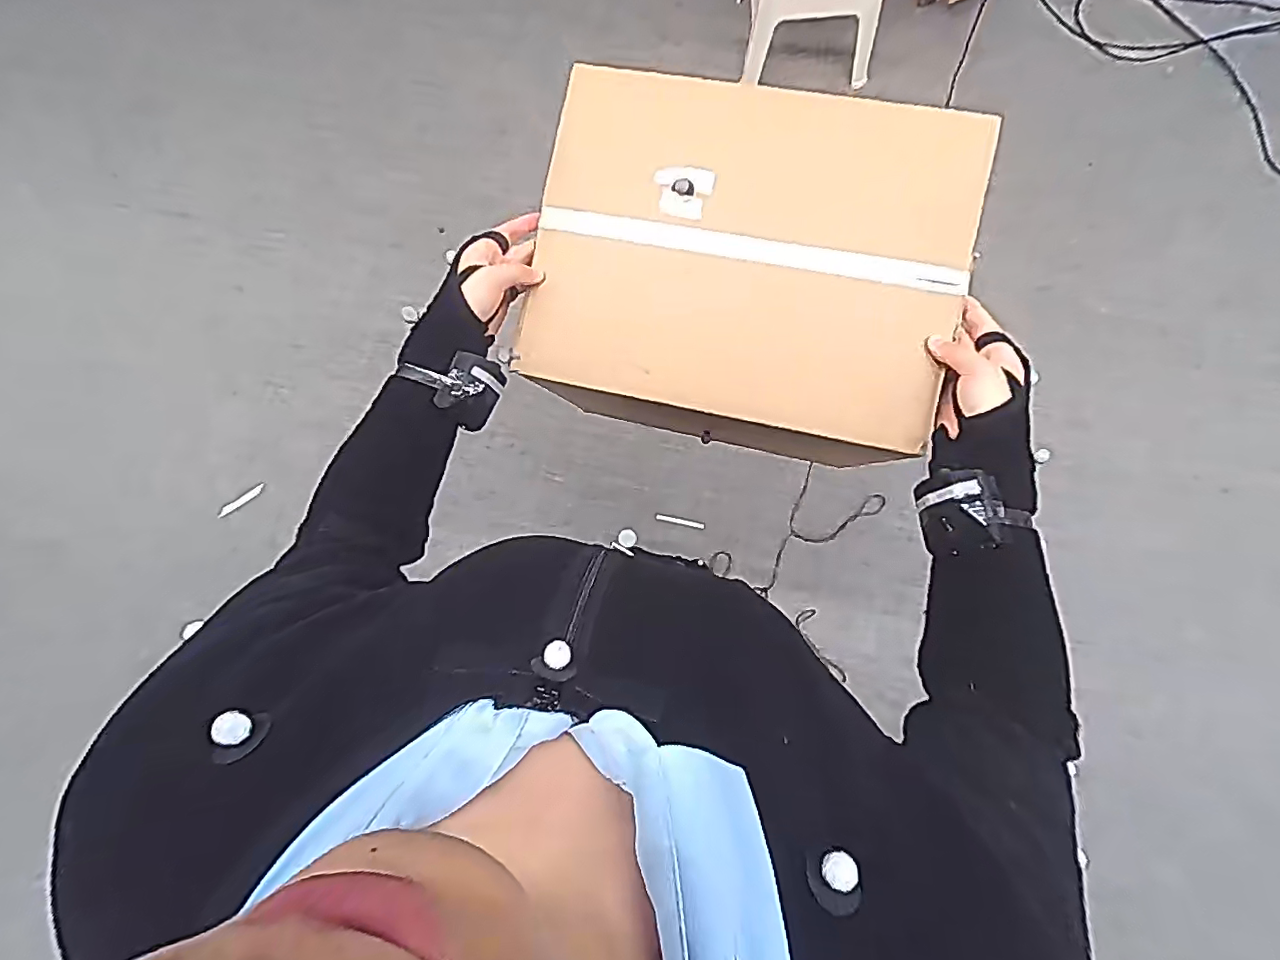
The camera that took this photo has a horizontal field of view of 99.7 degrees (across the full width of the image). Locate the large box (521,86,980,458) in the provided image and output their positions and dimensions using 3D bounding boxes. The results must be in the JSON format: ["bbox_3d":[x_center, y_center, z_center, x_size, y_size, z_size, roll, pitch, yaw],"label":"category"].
[{"bbox_3d":[0.119,-0.217,0.677,0.408,0.320,0.320,12,90,8],"label":"large box"}]
